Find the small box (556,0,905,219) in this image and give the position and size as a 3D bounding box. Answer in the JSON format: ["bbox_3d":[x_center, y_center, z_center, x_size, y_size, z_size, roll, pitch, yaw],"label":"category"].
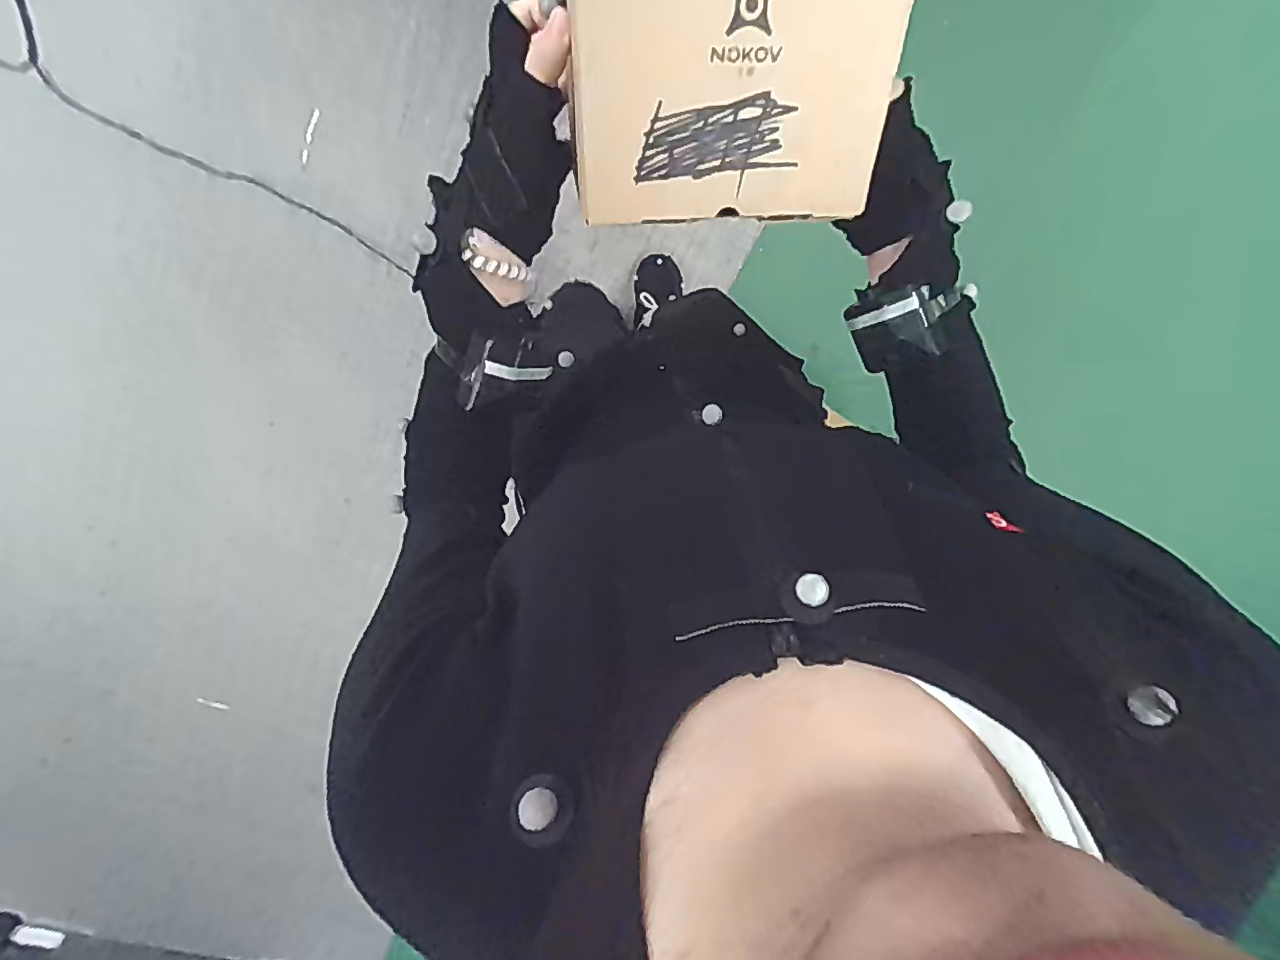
[{"bbox_3d":[0.036,-0.271,0.318,0.168,0.176,0.179,-5,130,-7],"label":"small box"}]
